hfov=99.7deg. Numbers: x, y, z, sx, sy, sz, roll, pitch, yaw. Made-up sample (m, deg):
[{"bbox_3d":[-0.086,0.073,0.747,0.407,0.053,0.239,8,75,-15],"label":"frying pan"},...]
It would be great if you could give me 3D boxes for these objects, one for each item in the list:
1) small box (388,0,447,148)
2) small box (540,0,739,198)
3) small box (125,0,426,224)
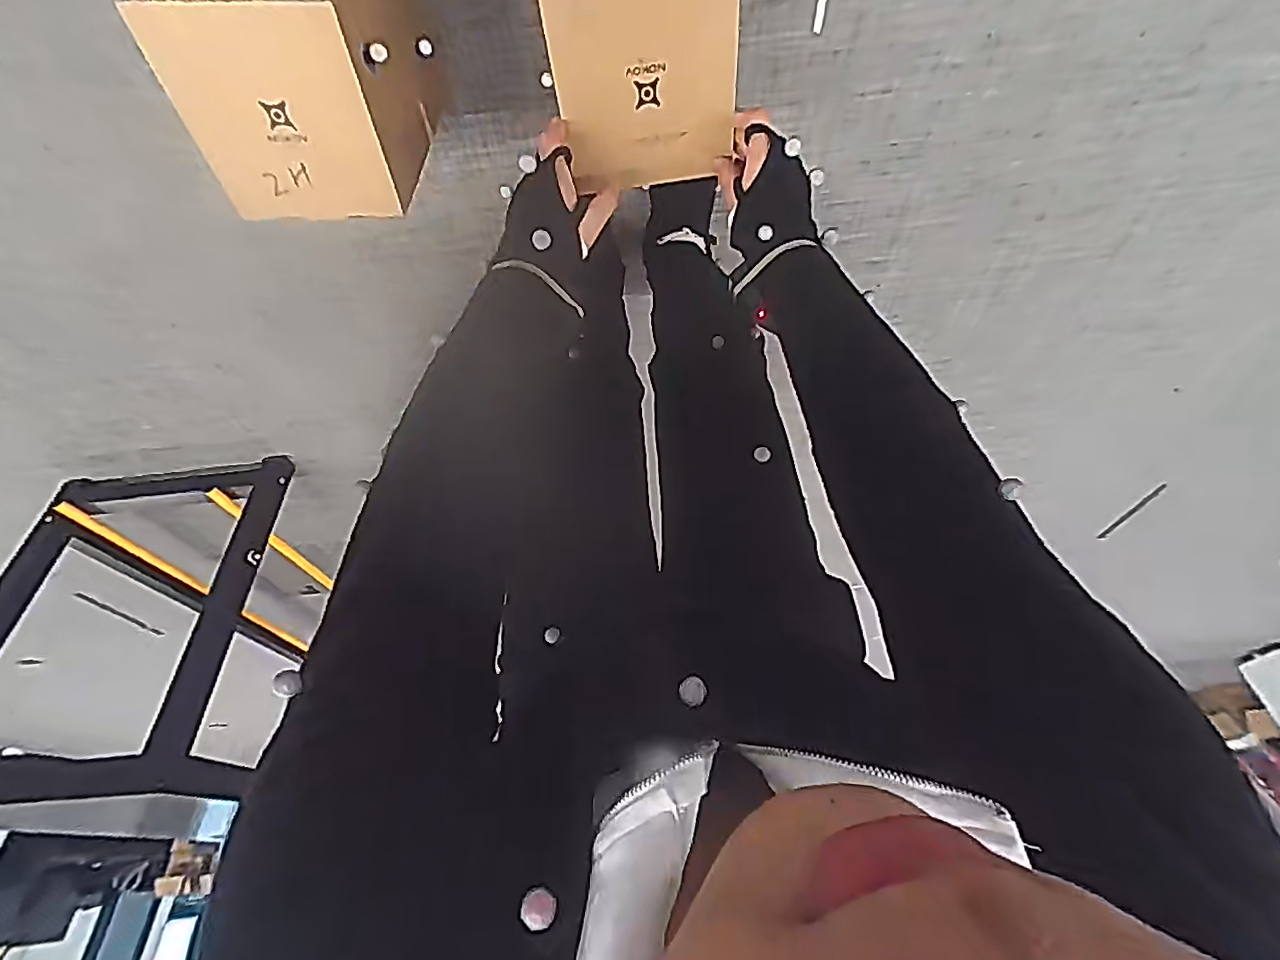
[{"bbox_3d":[-0.342,-0.514,0.635,0.168,0.176,0.179,-6,145,1],"label":"small box"},{"bbox_3d":[-0.001,-0.418,0.538,0.168,0.176,0.179,-7,146,3],"label":"small box"},{"bbox_3d":[-0.327,-0.382,0.535,0.168,0.176,0.179,-3,145,-3],"label":"small box"}]
